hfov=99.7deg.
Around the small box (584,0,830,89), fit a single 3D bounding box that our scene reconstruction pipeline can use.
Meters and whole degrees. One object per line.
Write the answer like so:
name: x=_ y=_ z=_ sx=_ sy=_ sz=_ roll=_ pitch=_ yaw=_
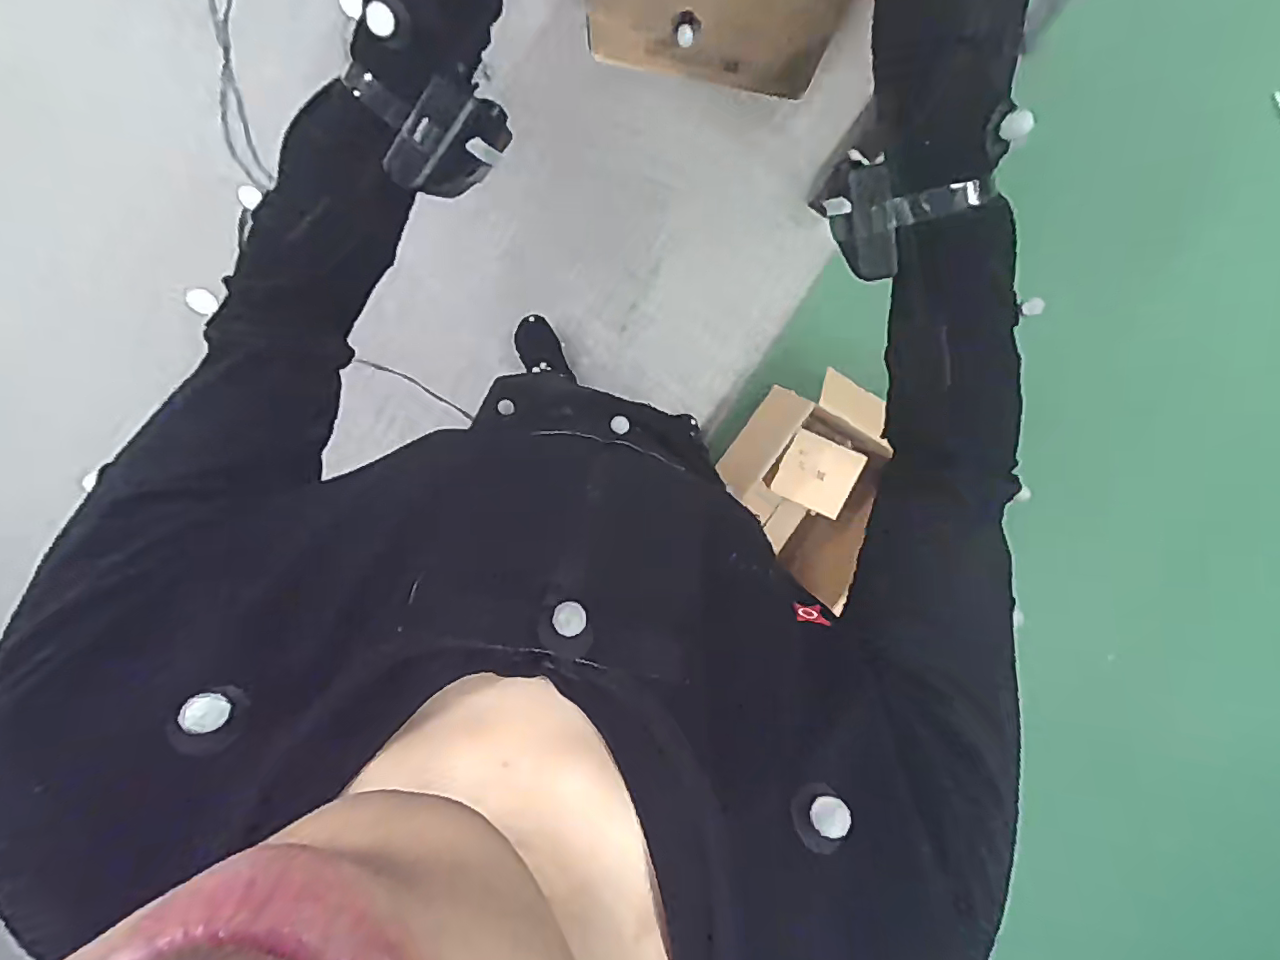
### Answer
small box: x=0.050 y=-0.390 z=0.326 sx=0.168 sy=0.176 sz=0.179 roll=9 pitch=96 yaw=-2
